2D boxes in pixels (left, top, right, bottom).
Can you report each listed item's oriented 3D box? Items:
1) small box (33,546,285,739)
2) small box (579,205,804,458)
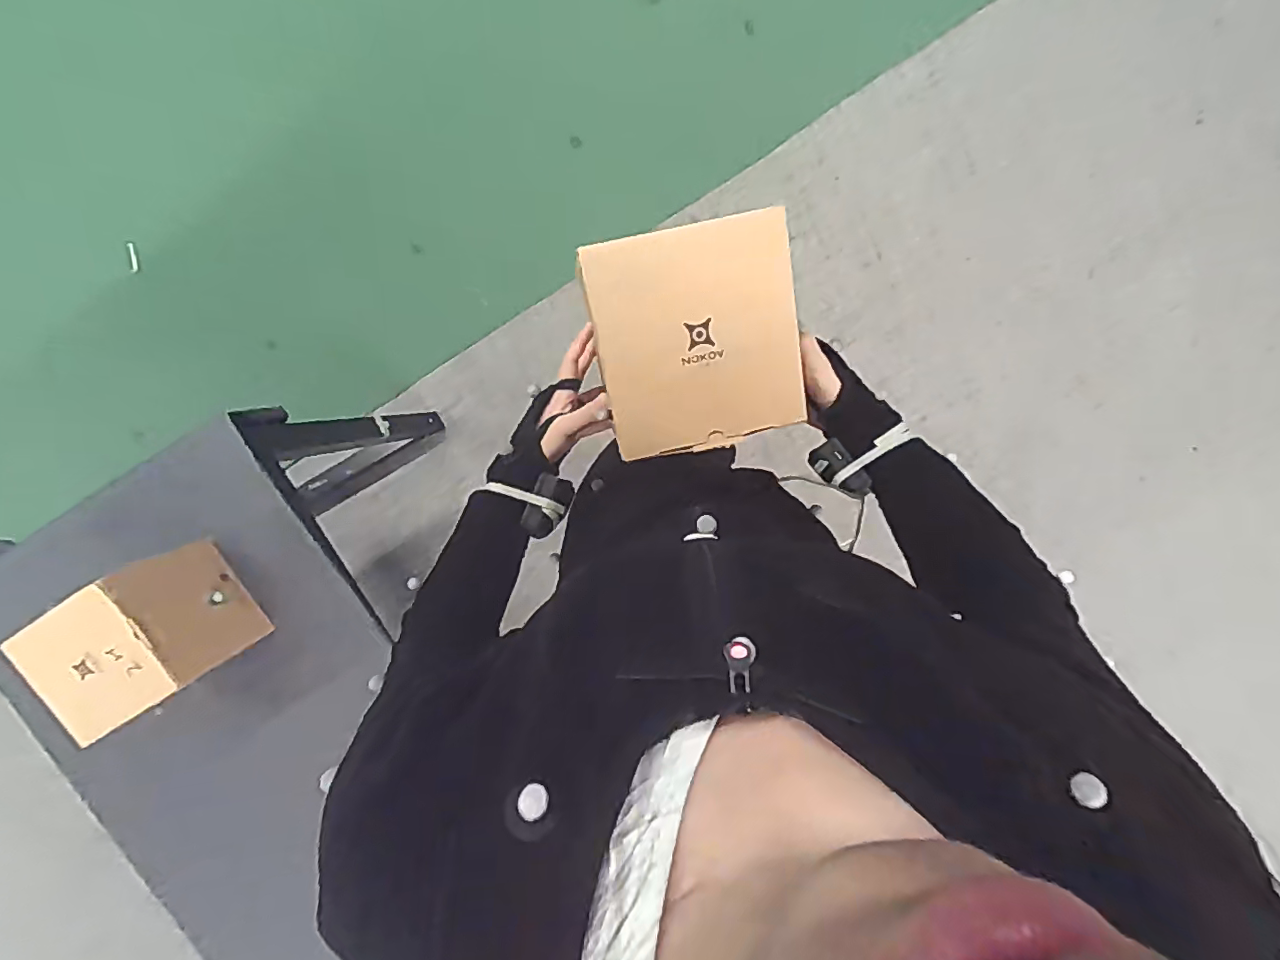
[{"bbox_3d":[-0.669,0.221,0.775,0.179,0.176,0.168,-31,96,9],"label":"small box"},{"bbox_3d":[0.039,-0.139,0.521,0.168,0.176,0.179,-14,108,-1],"label":"small box"}]
